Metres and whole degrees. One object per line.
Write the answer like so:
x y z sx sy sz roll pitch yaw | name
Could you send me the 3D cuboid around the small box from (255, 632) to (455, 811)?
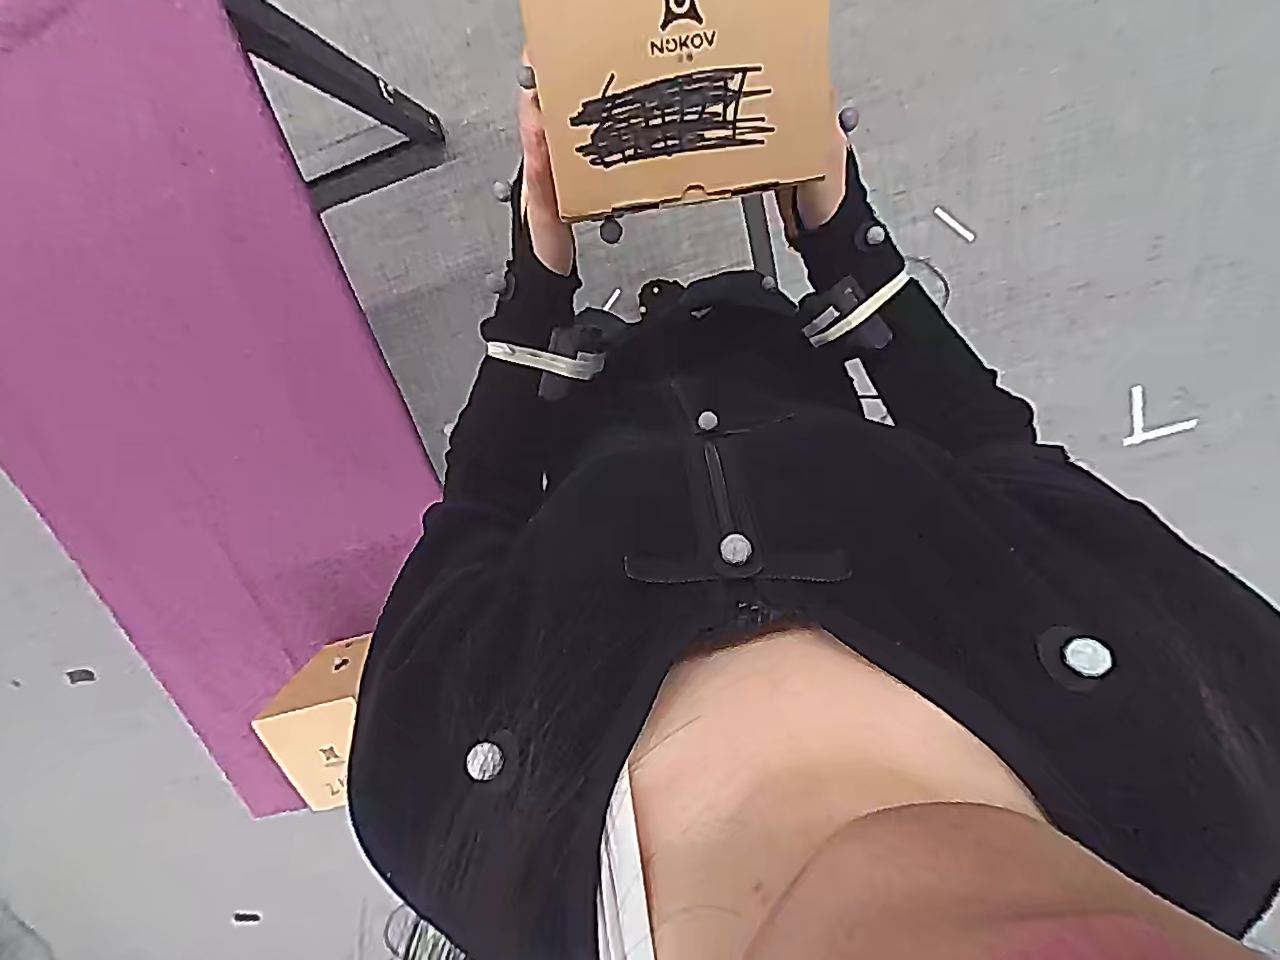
-0.414 0.351 0.817 0.168 0.176 0.179 -17 108 11 | small box
